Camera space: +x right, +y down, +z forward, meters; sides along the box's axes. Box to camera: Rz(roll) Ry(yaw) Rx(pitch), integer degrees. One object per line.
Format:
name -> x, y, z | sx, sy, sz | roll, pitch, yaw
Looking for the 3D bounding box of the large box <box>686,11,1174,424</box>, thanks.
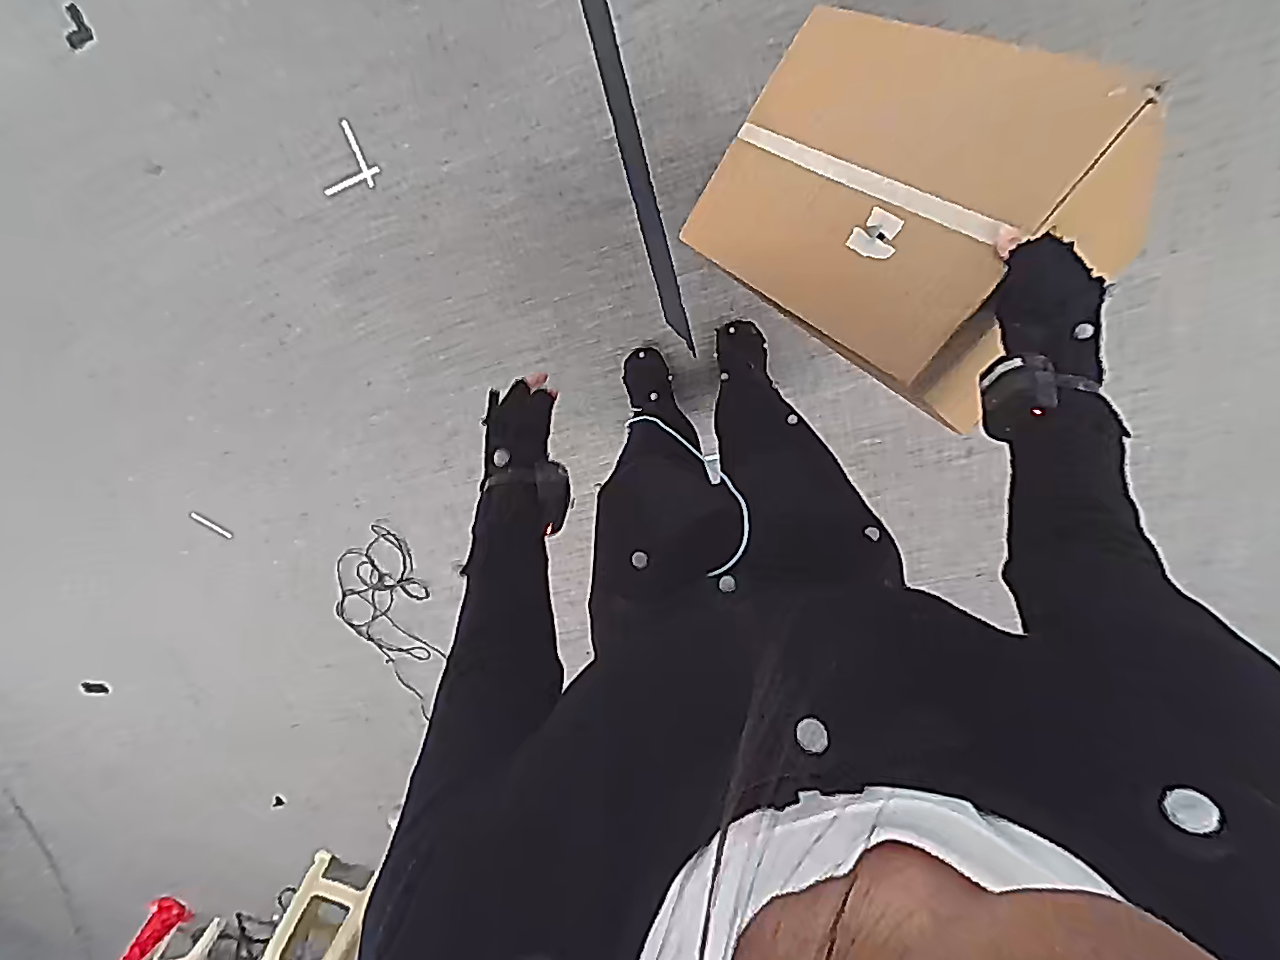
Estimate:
large box -> 0.347, -0.326, 0.721 | 0.408, 0.320, 0.320 | 47, 116, 33
